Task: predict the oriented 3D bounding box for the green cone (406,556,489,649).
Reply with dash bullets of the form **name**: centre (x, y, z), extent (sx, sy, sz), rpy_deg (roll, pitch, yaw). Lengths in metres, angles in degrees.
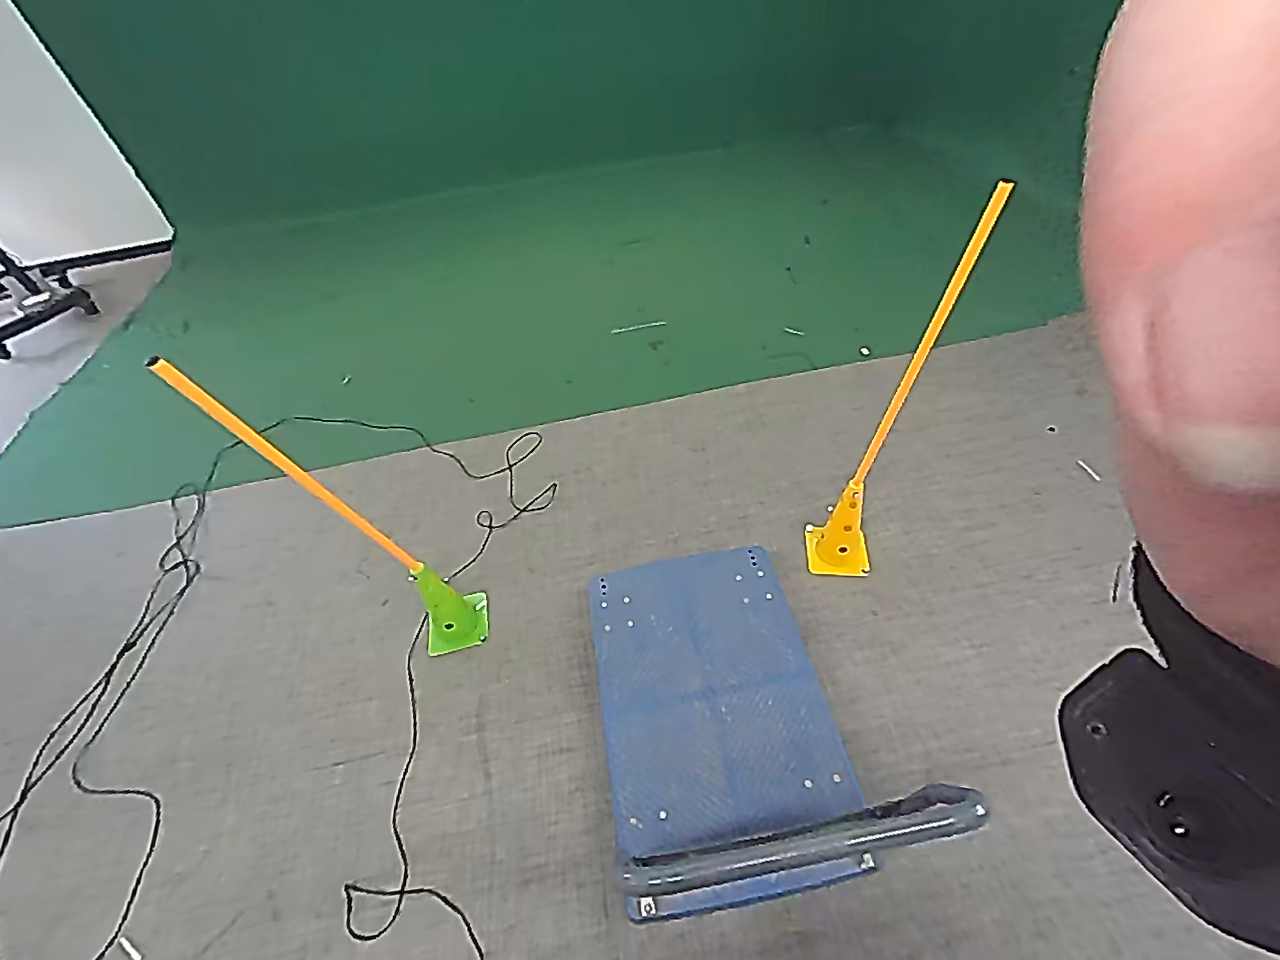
- **green cone**: centre (-0.640, 0.352, 1.720), extent (0.202, 0.368, 0.200), rpy_deg (-15, 48, -4)
